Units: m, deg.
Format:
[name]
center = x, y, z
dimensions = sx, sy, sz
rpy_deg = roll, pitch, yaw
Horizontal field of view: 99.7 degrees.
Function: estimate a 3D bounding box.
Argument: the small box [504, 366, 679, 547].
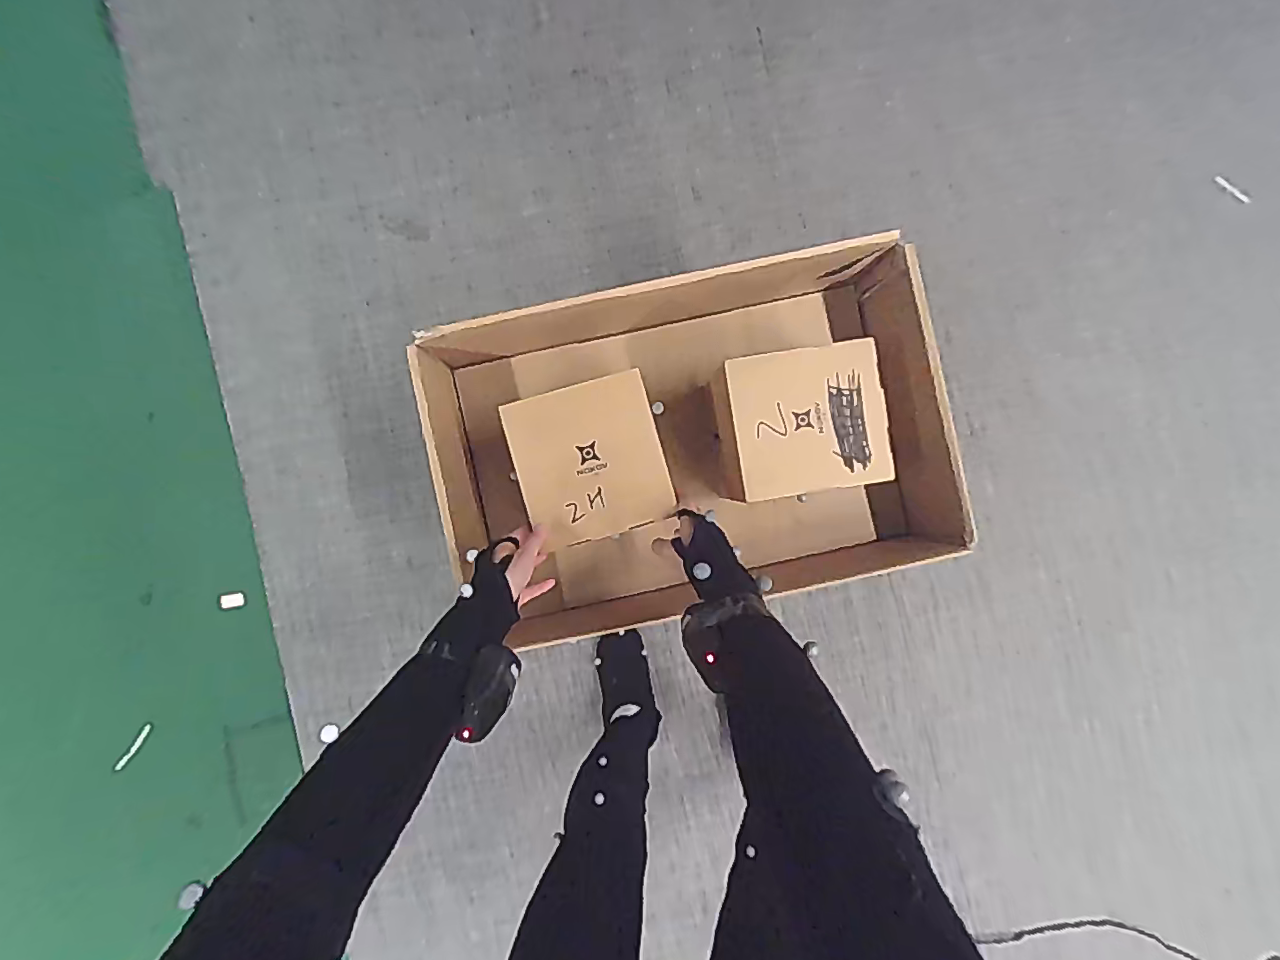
[small box]
center = -0.056, -0.025, 0.686
dimensions = 0.168, 0.176, 0.179
rpy_deg = -15, 90, -1
